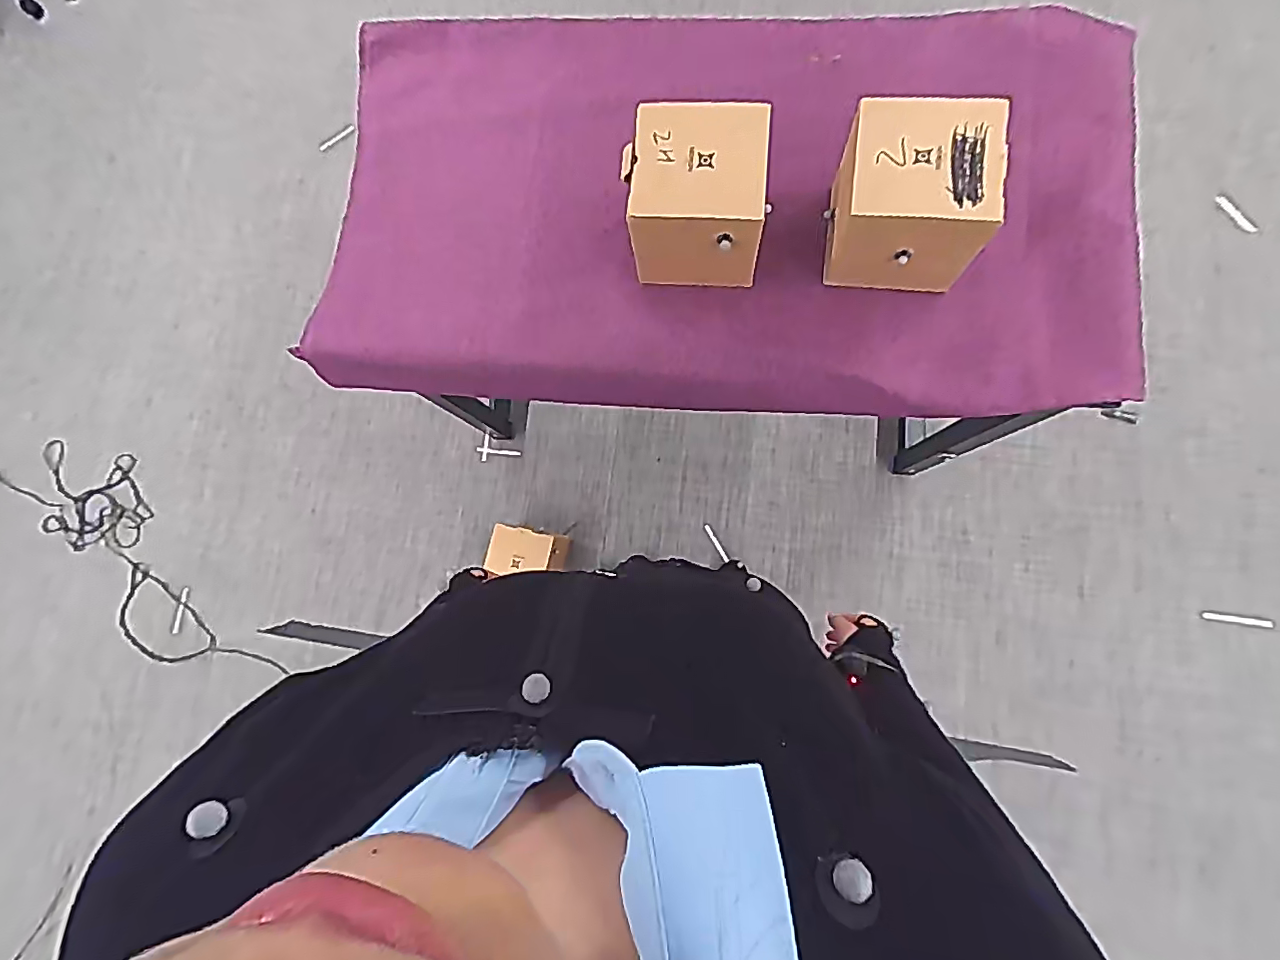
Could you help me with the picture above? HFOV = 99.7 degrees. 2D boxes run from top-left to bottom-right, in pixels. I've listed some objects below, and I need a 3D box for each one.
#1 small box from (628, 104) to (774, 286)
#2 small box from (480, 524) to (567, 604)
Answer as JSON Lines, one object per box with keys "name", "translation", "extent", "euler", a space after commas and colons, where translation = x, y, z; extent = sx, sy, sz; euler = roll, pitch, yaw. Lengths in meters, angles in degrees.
{"name": "small box", "translation": [0.086, -0.394, 0.769], "extent": [0.179, 0.176, 0.168], "euler": [4, 81, 7]}
{"name": "small box", "translation": [-0.307, 0.226, 1.463], "extent": [0.168, 0.176, 0.179], "euler": [12, 83, 8]}
